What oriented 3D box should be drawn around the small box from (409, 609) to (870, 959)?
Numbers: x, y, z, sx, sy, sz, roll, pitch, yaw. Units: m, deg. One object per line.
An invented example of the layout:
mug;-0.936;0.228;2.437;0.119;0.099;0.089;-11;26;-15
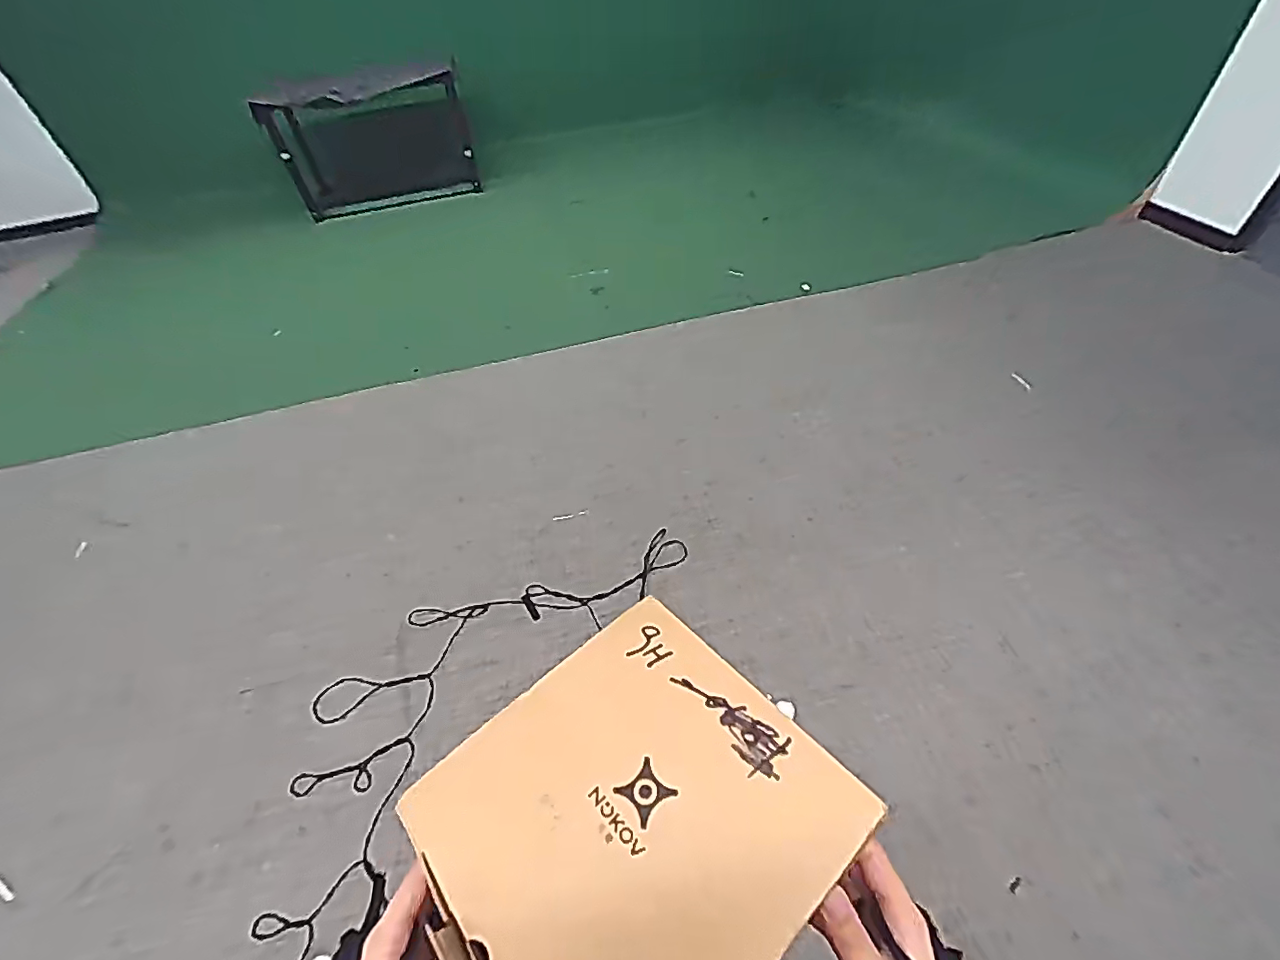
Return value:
small box;0.004;0.222;0.322;0.179;0.176;0.168;-35;50;-26
